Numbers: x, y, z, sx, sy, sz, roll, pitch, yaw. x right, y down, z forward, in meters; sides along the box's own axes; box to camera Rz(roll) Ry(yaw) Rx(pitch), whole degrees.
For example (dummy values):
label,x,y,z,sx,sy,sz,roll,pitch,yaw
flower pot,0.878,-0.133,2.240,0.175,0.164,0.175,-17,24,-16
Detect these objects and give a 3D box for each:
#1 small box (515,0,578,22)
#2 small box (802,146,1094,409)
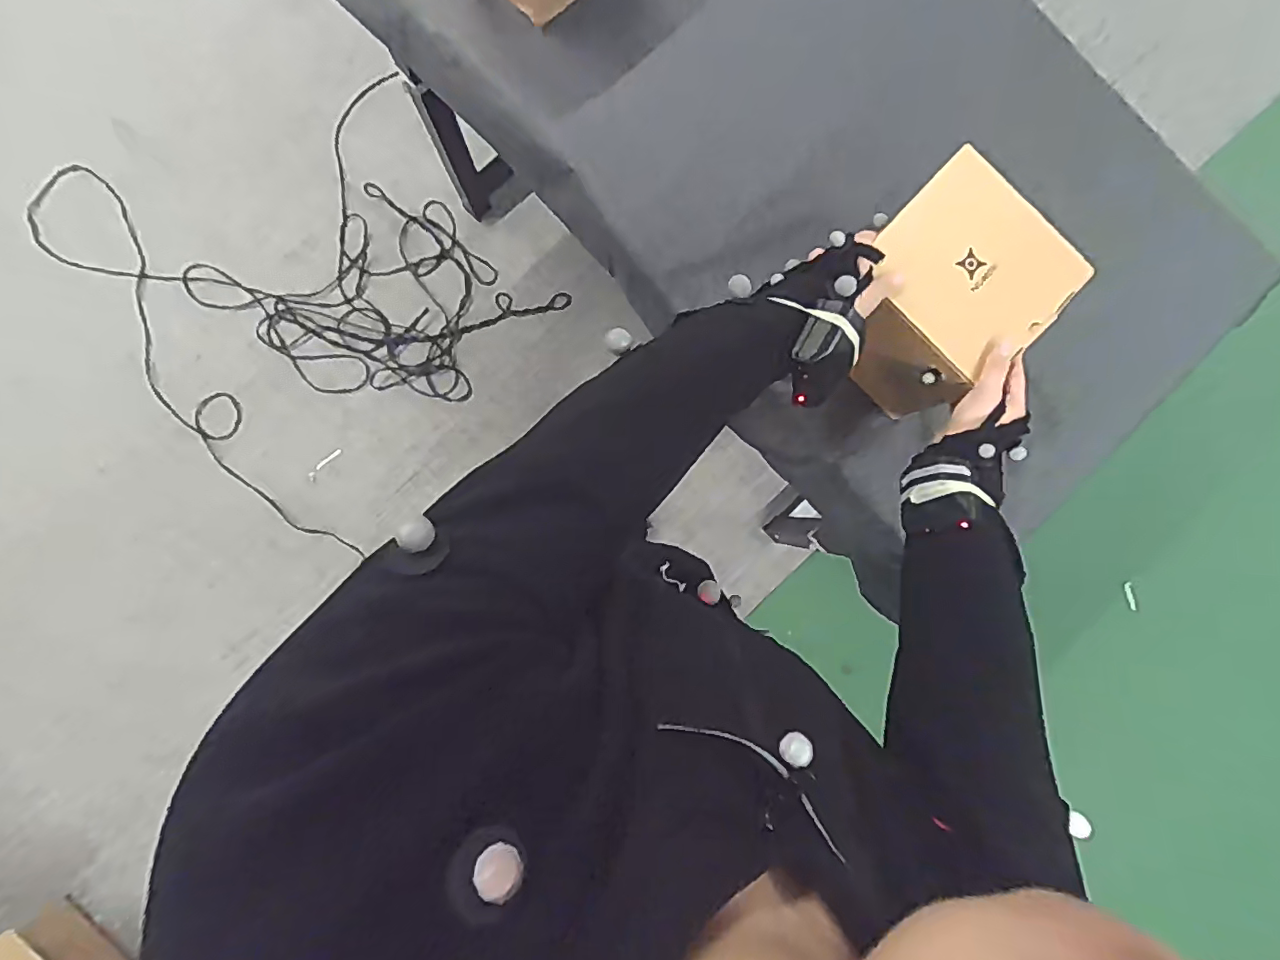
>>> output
label,x,y,z,sx,sy,sz,roll,pitch,yaw
small box,-0.115,-0.666,0.581,0.168,0.176,0.179,-44,92,-3
small box,0.308,-0.197,0.584,0.179,0.176,0.168,44,87,-1
